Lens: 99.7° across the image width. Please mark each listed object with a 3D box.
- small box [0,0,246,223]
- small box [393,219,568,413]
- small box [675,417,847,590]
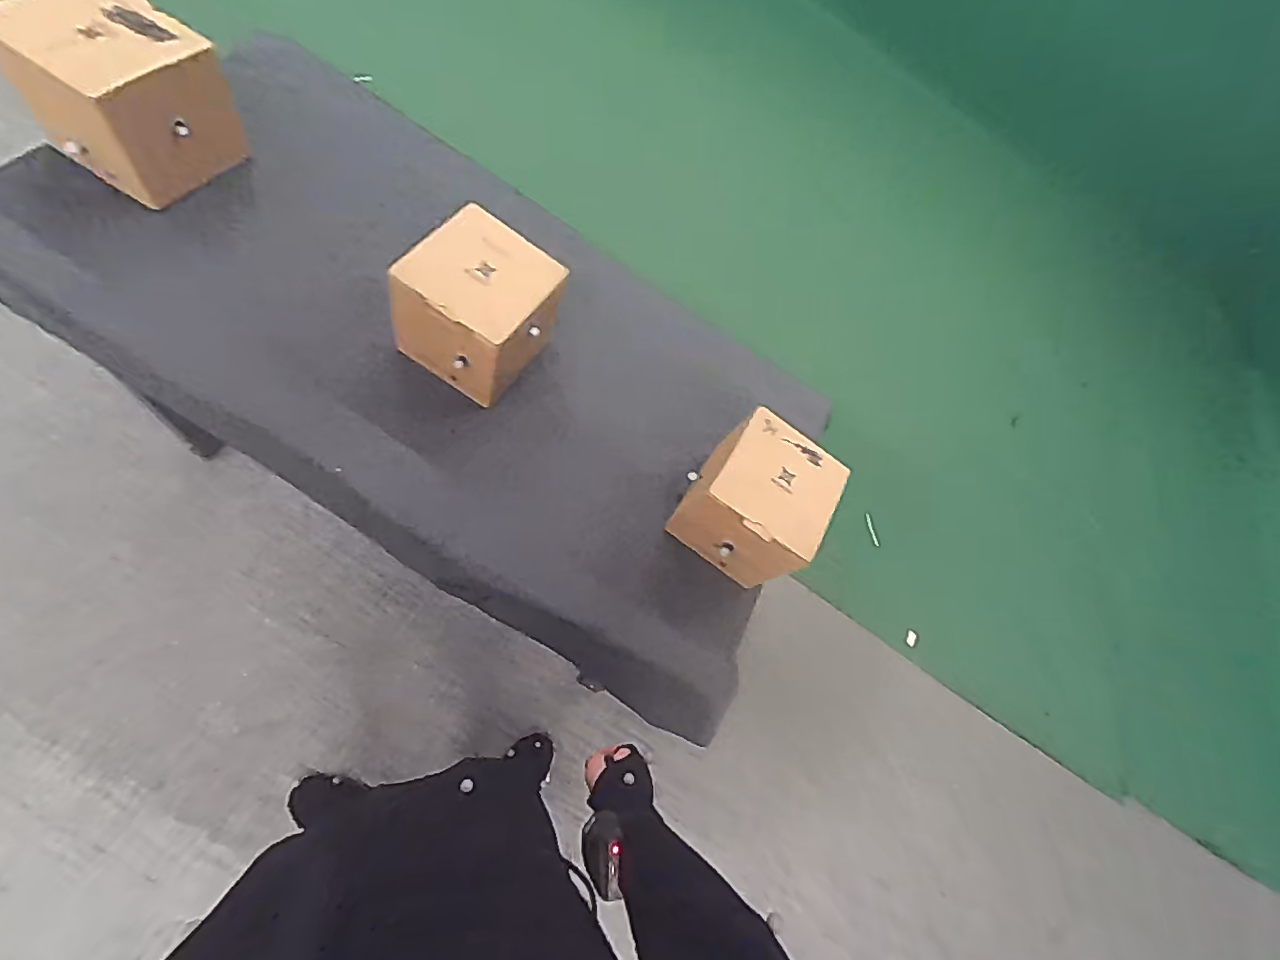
[{"bbox_3d":[-0.687,-0.500,0.742,0.168,0.176,0.179,33,62,-4],"label":"small box"},{"bbox_3d":[-0.231,-0.231,0.797,0.168,0.176,0.179,34,60,-5],"label":"small box"},{"bbox_3d":[0.172,0.044,0.821,0.168,0.176,0.179,36,62,-2],"label":"small box"}]
